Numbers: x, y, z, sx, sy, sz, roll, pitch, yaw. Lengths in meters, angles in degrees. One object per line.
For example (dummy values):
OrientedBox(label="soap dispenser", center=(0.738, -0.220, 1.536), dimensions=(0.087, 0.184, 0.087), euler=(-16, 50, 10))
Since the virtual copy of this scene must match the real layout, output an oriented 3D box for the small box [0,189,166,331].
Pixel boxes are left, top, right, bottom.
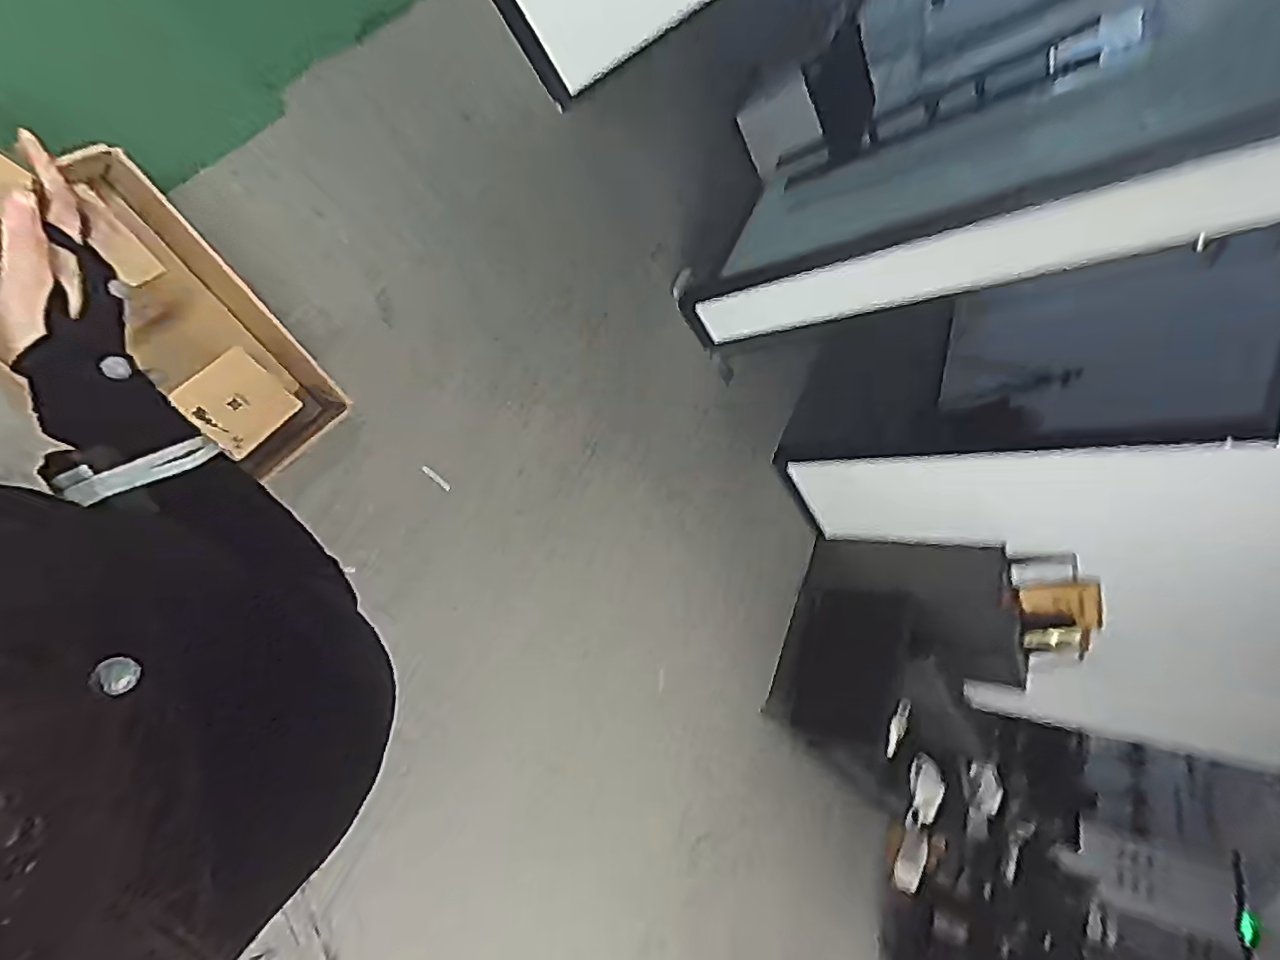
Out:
OrientedBox(label="small box", center=(-1.030, -0.392, 0.985), dimensions=(0.179, 0.176, 0.168), euler=(-54, 129, -35))
